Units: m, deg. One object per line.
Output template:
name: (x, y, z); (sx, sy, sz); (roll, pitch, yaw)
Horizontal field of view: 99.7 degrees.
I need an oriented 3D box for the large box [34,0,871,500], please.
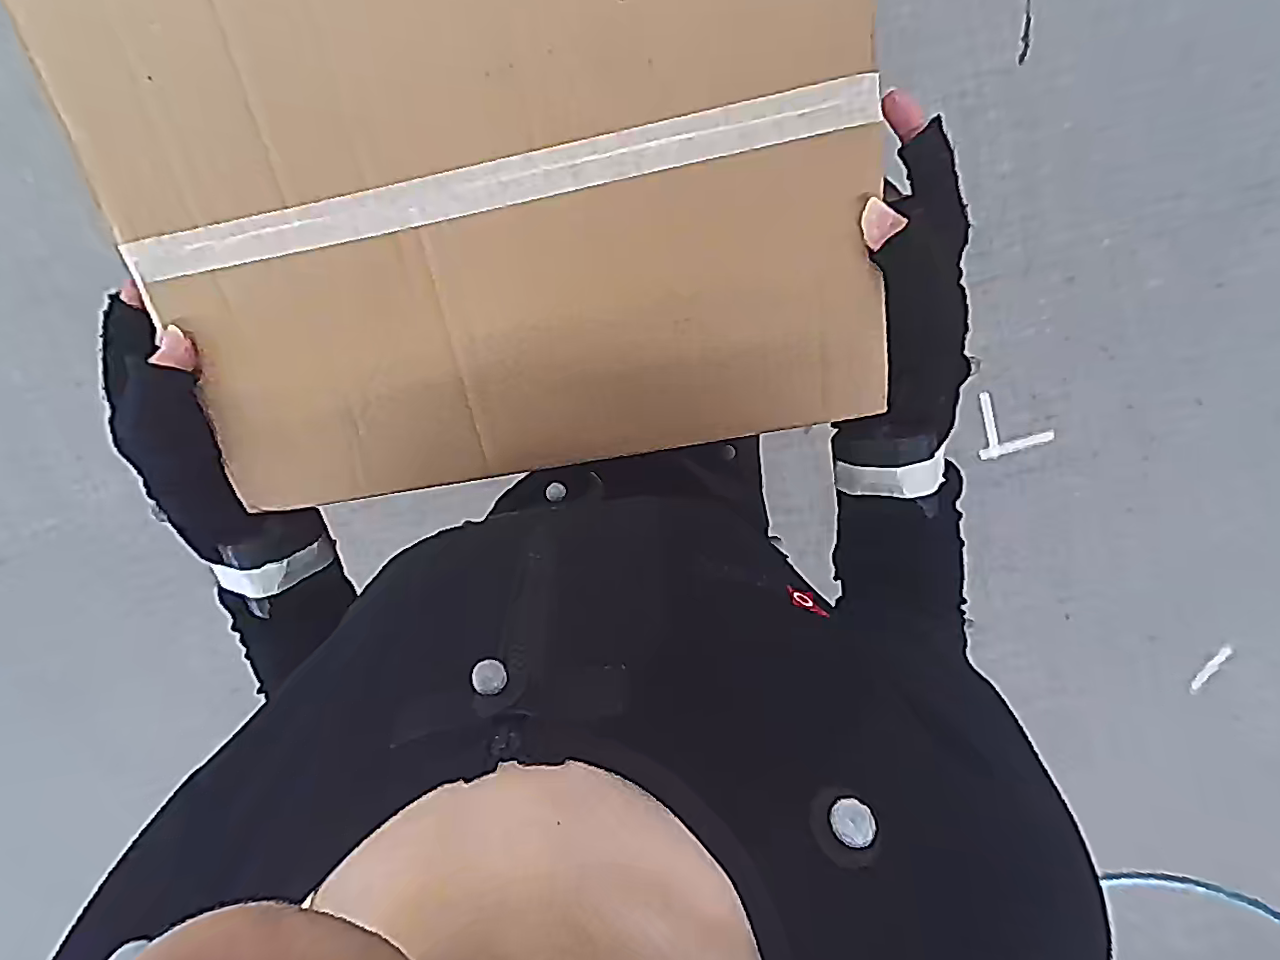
large box: (-0.077, -0.213, 0.430); (0.408, 0.320, 0.320); (-9, 110, 6)
